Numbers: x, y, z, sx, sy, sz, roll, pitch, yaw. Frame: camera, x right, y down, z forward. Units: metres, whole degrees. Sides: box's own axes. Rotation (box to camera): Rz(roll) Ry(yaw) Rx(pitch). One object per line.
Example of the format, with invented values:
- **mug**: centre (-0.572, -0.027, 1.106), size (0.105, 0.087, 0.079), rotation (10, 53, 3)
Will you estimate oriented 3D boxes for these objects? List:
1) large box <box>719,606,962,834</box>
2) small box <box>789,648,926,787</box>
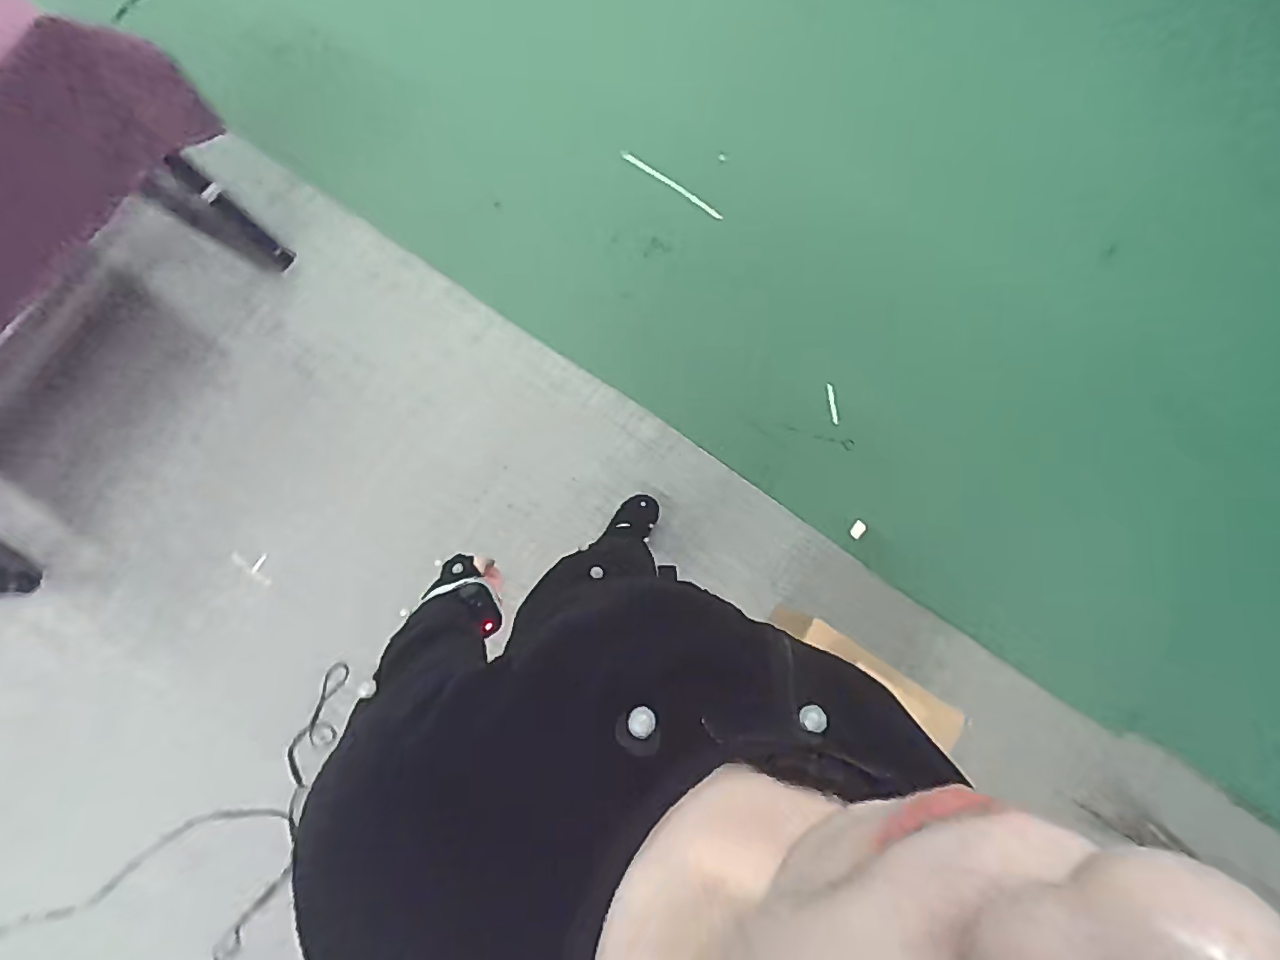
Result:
- **large box**: centre (0.466, 0.554, 1.338), size (0.408, 0.320, 0.320), rotation (34, 82, 2)
- **small box**: centre (0.428, 0.470, 1.100), size (0.168, 0.176, 0.179), rotation (37, 80, 2)
